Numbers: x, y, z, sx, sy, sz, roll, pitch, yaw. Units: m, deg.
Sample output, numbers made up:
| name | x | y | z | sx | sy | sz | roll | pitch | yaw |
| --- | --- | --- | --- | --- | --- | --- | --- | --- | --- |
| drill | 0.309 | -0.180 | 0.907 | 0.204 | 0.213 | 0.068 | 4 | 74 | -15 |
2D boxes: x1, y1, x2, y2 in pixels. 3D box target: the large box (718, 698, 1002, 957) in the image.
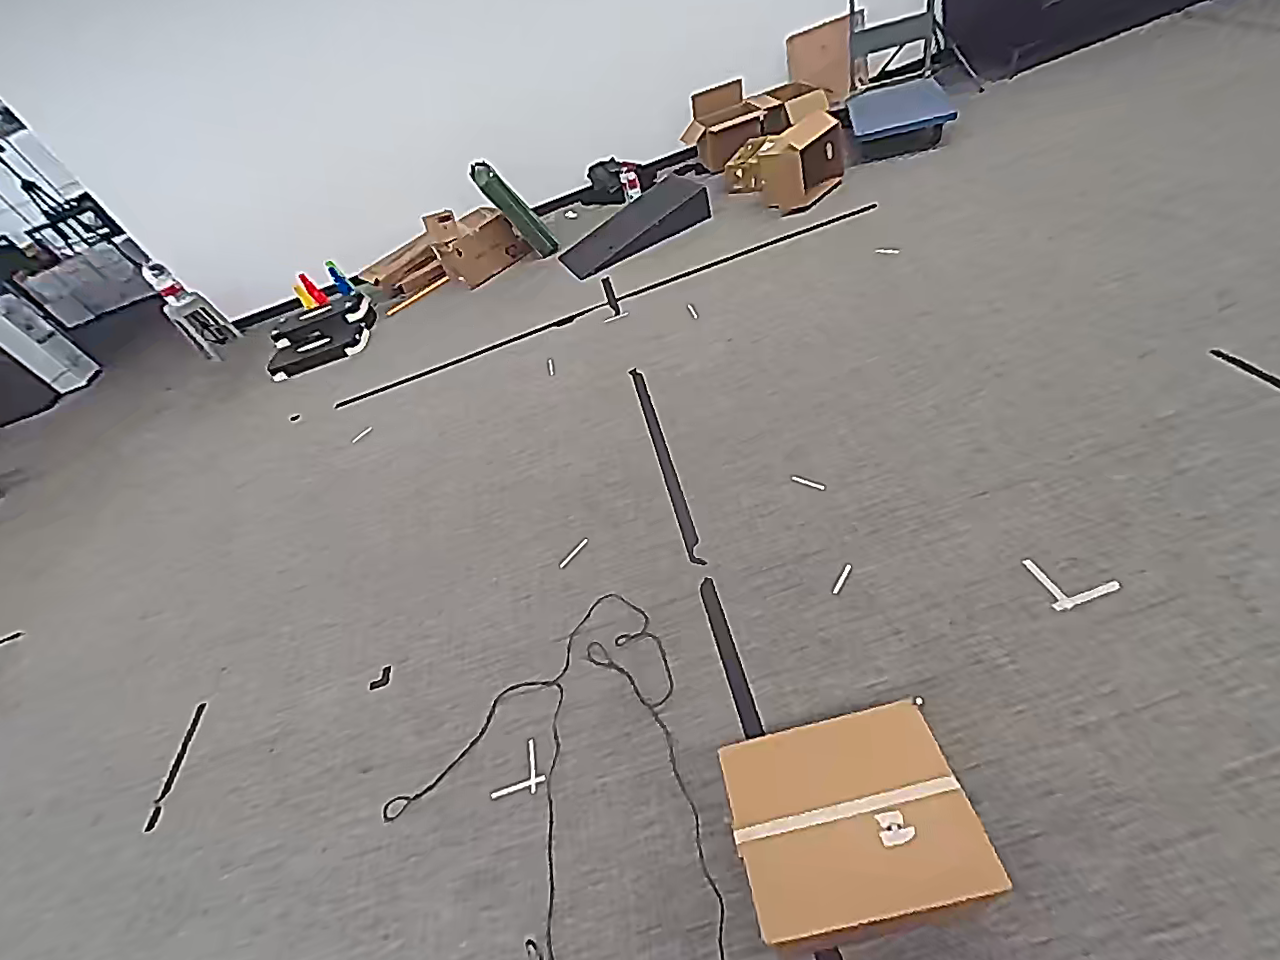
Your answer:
| name | x | y | z | sx | sy | sz | roll | pitch | yaw |
| --- | --- | --- | --- | --- | --- | --- | --- | --- | --- |
| large box | 0.406 | 0.697 | 1.082 | 0.408 | 0.320 | 0.320 | -17 | 44 | 4 |
